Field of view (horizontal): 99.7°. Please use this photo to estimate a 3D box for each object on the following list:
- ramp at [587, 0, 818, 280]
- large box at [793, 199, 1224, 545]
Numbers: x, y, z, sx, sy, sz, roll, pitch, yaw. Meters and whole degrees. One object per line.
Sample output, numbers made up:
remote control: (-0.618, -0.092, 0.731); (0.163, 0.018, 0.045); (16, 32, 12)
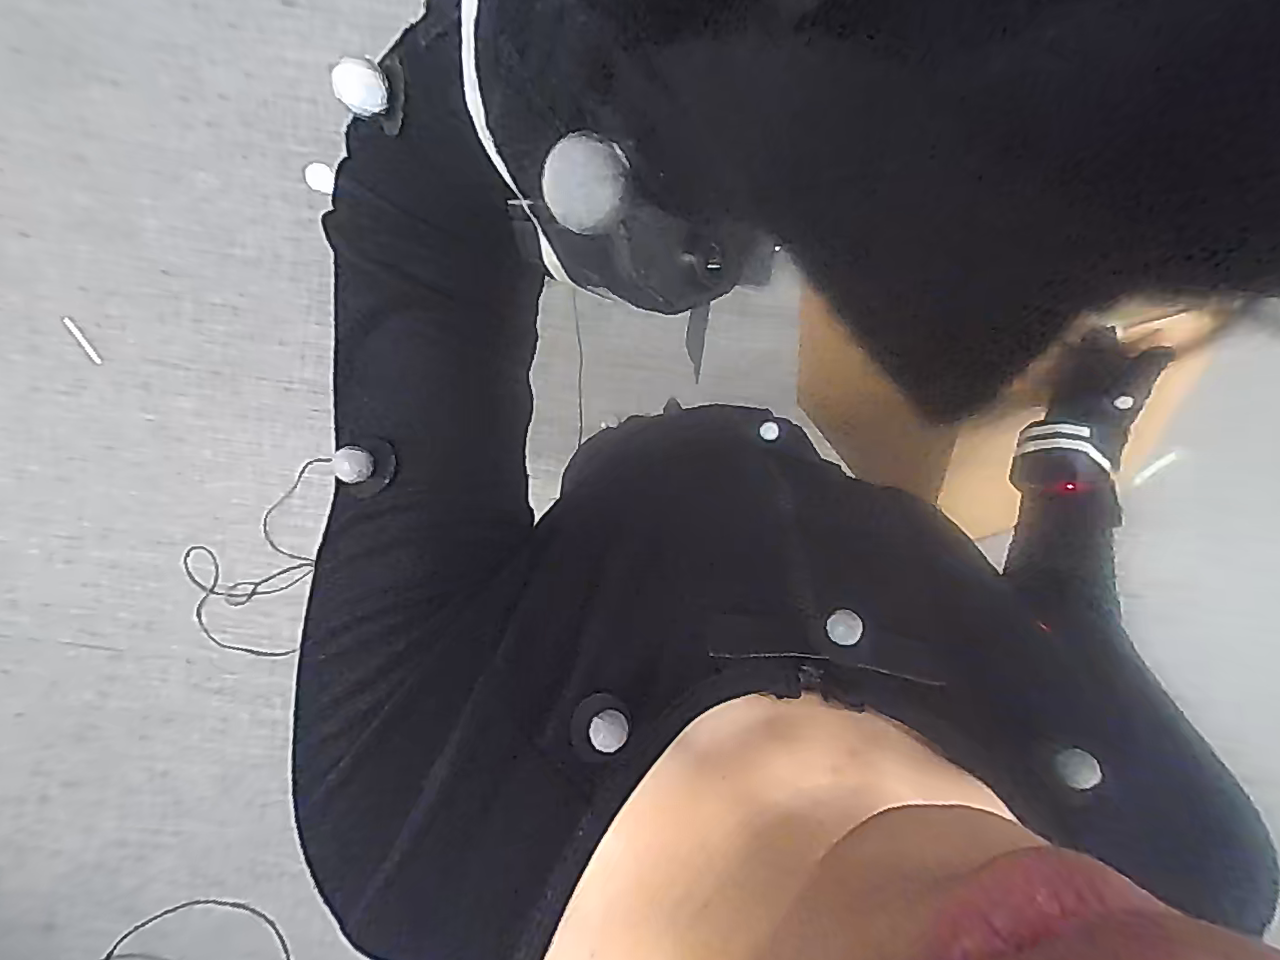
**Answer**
ramp: (0.158, -1.025, 1.276); (0.509, 0.206, 0.991); (5, 97, -2)
large box: (0.467, -0.177, 0.822); (0.320, 0.408, 0.320); (-17, 134, -3)
